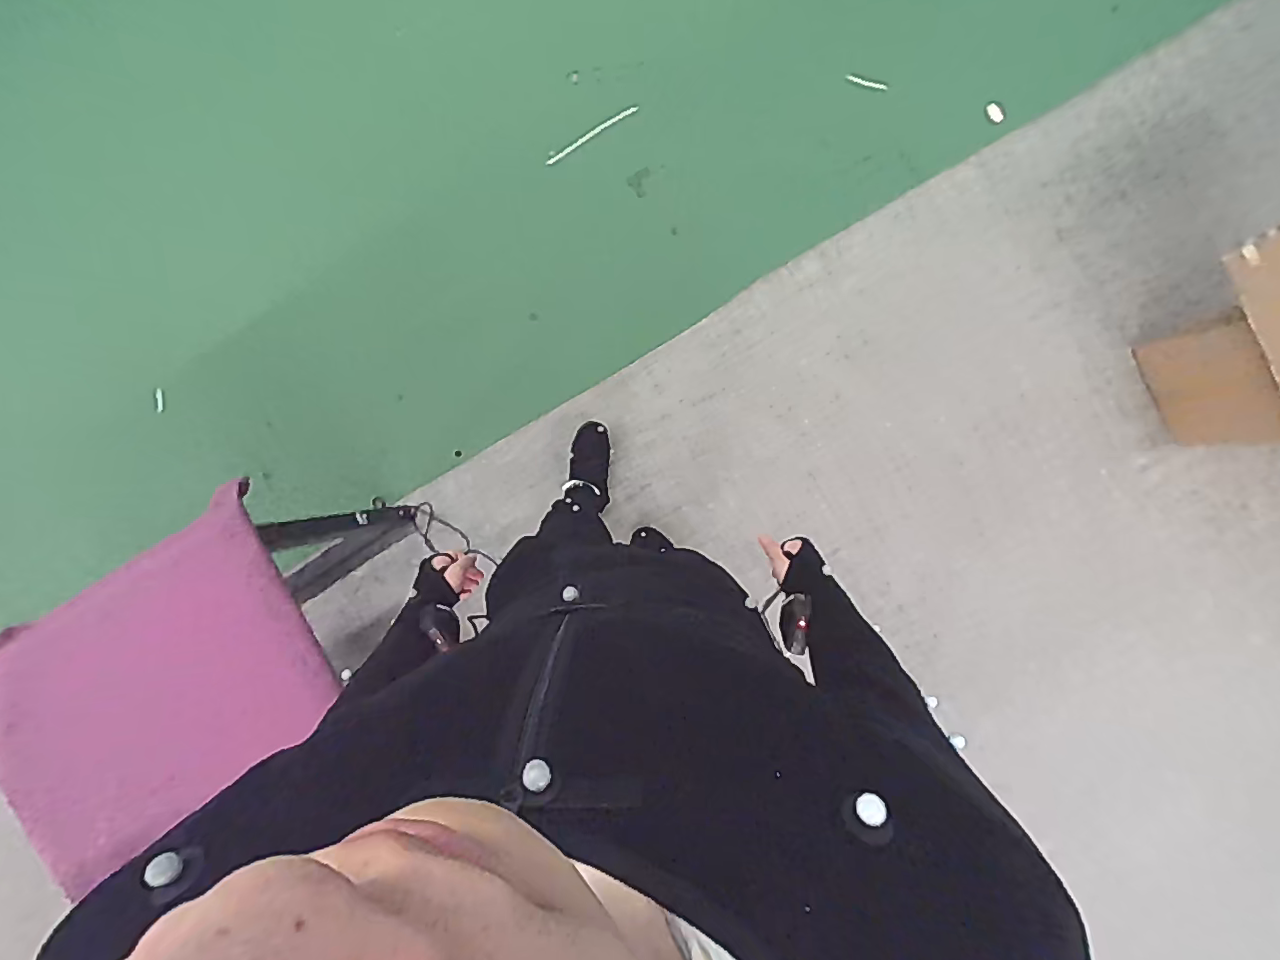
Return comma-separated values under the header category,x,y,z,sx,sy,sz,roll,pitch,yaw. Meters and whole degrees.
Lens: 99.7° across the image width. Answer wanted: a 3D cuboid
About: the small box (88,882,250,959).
category,x,y,z,sx,sy,sz,roll,pitch,yaw
small box,-0.822,0.842,0.913,0.179,0.176,0.168,-28,91,3
